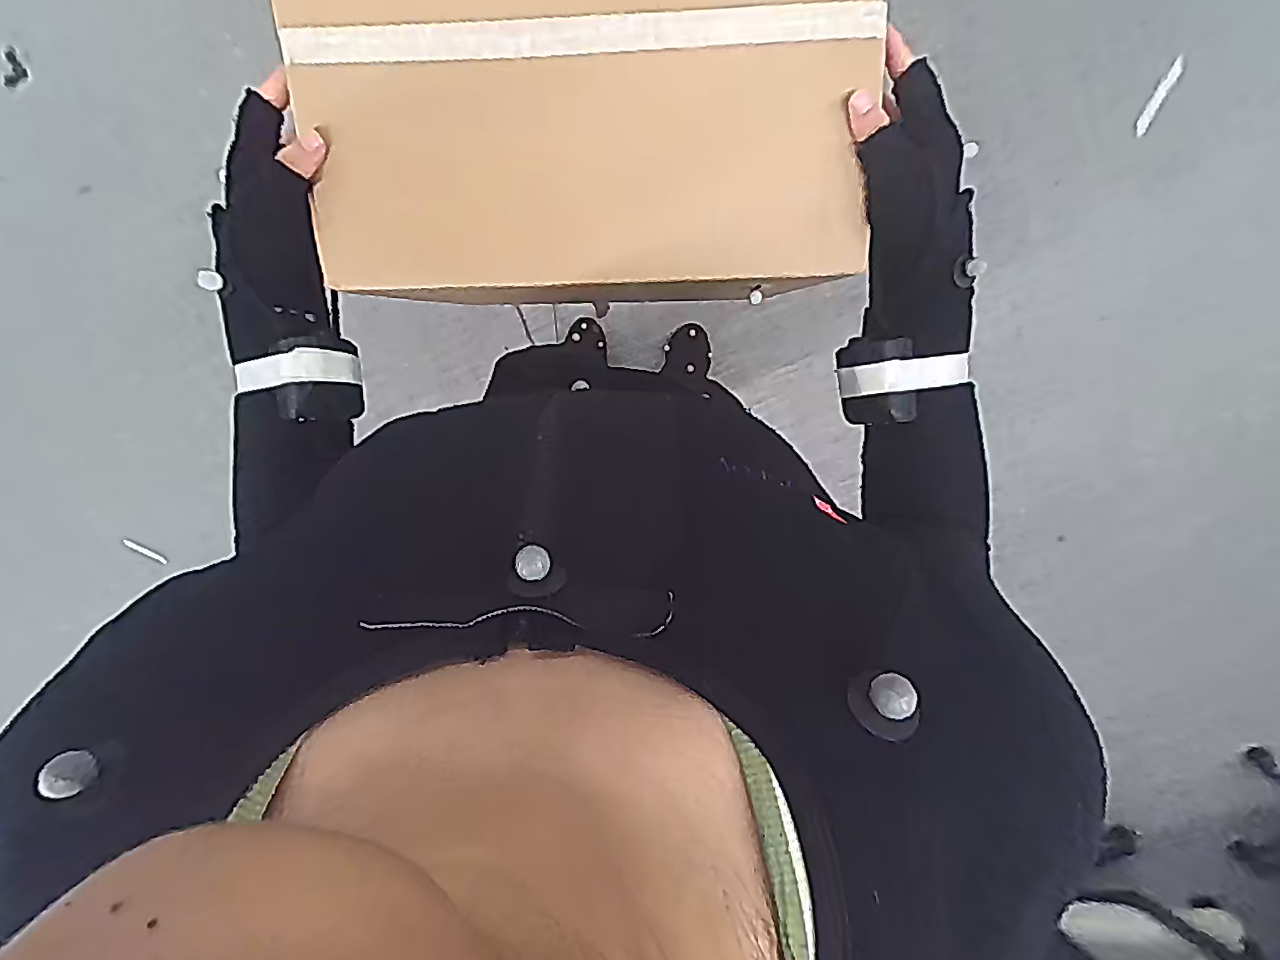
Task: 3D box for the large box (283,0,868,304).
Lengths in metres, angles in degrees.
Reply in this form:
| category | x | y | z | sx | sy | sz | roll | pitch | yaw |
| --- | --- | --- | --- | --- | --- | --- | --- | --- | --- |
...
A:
| category | x | y | z | sx | sy | sz | roll | pitch | yaw |
| --- | --- | --- | --- | --- | --- | --- | --- | --- | --- |
| large box | -0.041 | -0.341 | 0.515 | 0.408 | 0.320 | 0.320 | -2 | 106 | 1 |
